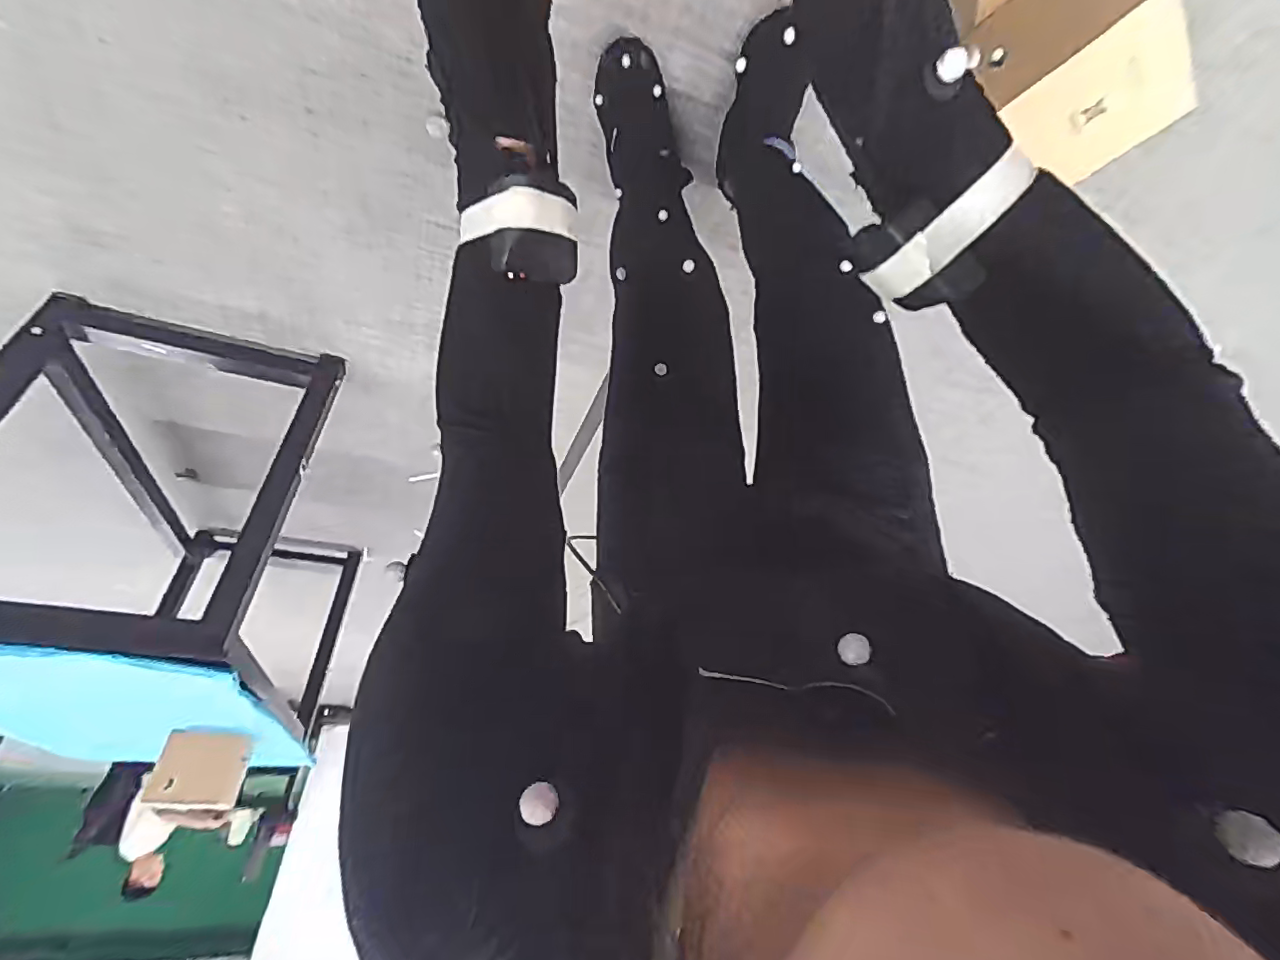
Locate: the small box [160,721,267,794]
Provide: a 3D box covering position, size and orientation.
[{"bbox_3d":[-1.190,0.780,1.522,0.179,0.176,0.168,11,146,-20],"label":"small box"}]

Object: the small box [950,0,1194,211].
[{"bbox_3d":[0.506,-0.482,0.655,0.168,0.176,0.179,26,138,-37],"label":"small box"}]
